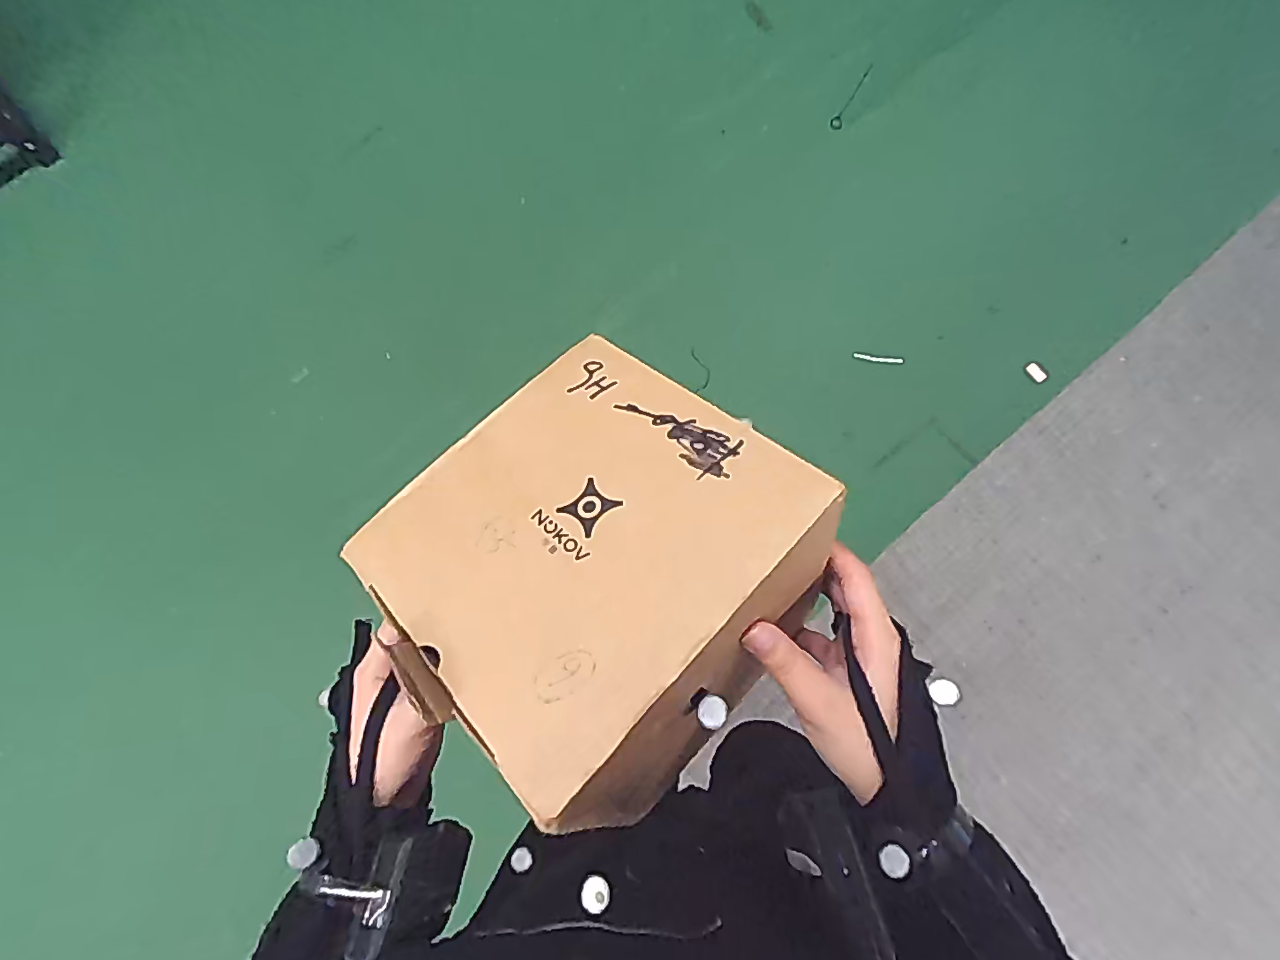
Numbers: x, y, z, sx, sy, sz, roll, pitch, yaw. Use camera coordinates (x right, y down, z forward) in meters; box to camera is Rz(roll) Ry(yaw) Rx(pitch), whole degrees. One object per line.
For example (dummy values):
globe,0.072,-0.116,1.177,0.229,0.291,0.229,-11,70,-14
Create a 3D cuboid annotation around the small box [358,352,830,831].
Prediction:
small box,-0.012,0.067,0.319,0.168,0.176,0.179,37,74,29
